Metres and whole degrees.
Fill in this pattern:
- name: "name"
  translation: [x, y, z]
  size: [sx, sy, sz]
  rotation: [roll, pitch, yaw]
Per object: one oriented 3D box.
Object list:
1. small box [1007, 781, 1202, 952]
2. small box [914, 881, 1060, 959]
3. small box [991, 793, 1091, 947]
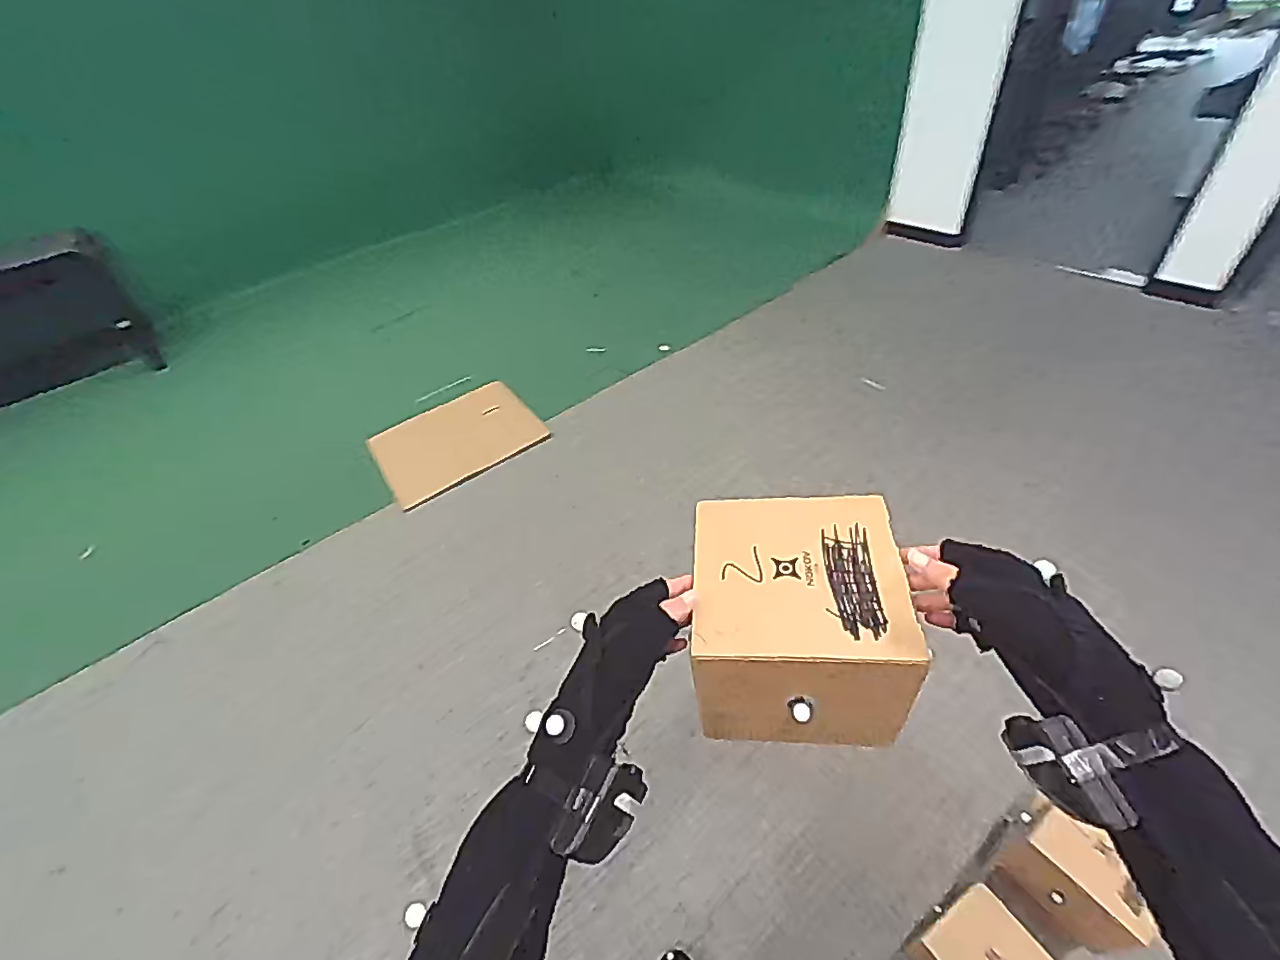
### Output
- name: "small box"
  translation: [0.797, 0.678, 0.947]
  size: [0.168, 0.176, 0.179]
  rotation: [-31, 47, -20]
- name: "small box"
  translation: [0.639, 0.893, 0.990]
  size: [0.168, 0.176, 0.179]
  rotation: [-28, 46, -17]
- name: "small box"
  translation: [0.841, 0.777, 1.075]
  size: [0.168, 0.176, 0.179]
  rotation: [-36, 49, -25]
